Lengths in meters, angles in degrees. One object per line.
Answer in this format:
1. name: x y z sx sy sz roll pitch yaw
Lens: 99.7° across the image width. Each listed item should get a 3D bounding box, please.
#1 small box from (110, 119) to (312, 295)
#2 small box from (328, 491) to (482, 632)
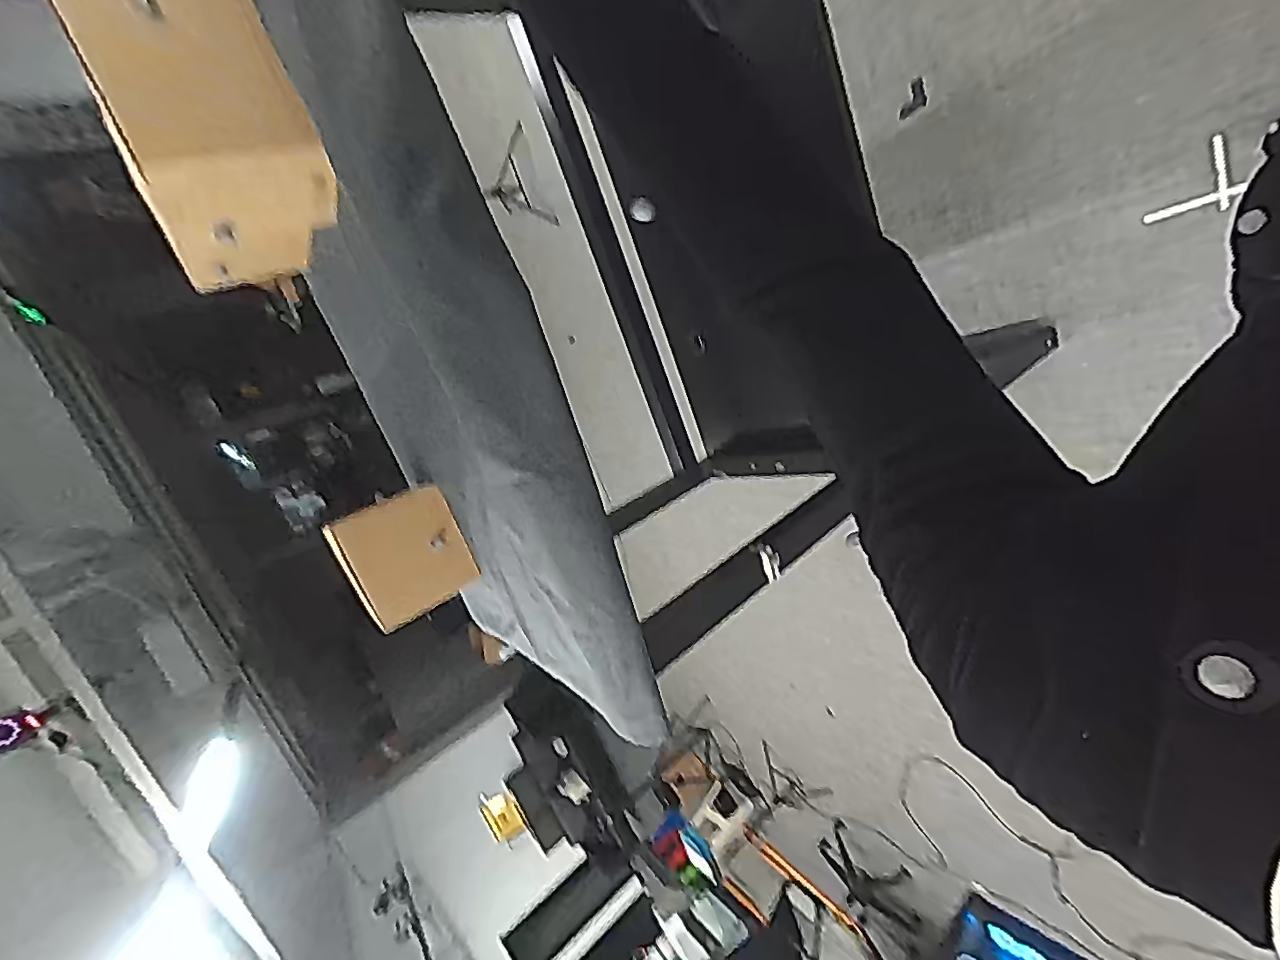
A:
1. small box: -0.610 -0.399 0.797 0.179 0.176 0.168 -3 113 57
2. small box: -0.395 0.124 0.912 0.168 0.176 0.179 -5 110 58
